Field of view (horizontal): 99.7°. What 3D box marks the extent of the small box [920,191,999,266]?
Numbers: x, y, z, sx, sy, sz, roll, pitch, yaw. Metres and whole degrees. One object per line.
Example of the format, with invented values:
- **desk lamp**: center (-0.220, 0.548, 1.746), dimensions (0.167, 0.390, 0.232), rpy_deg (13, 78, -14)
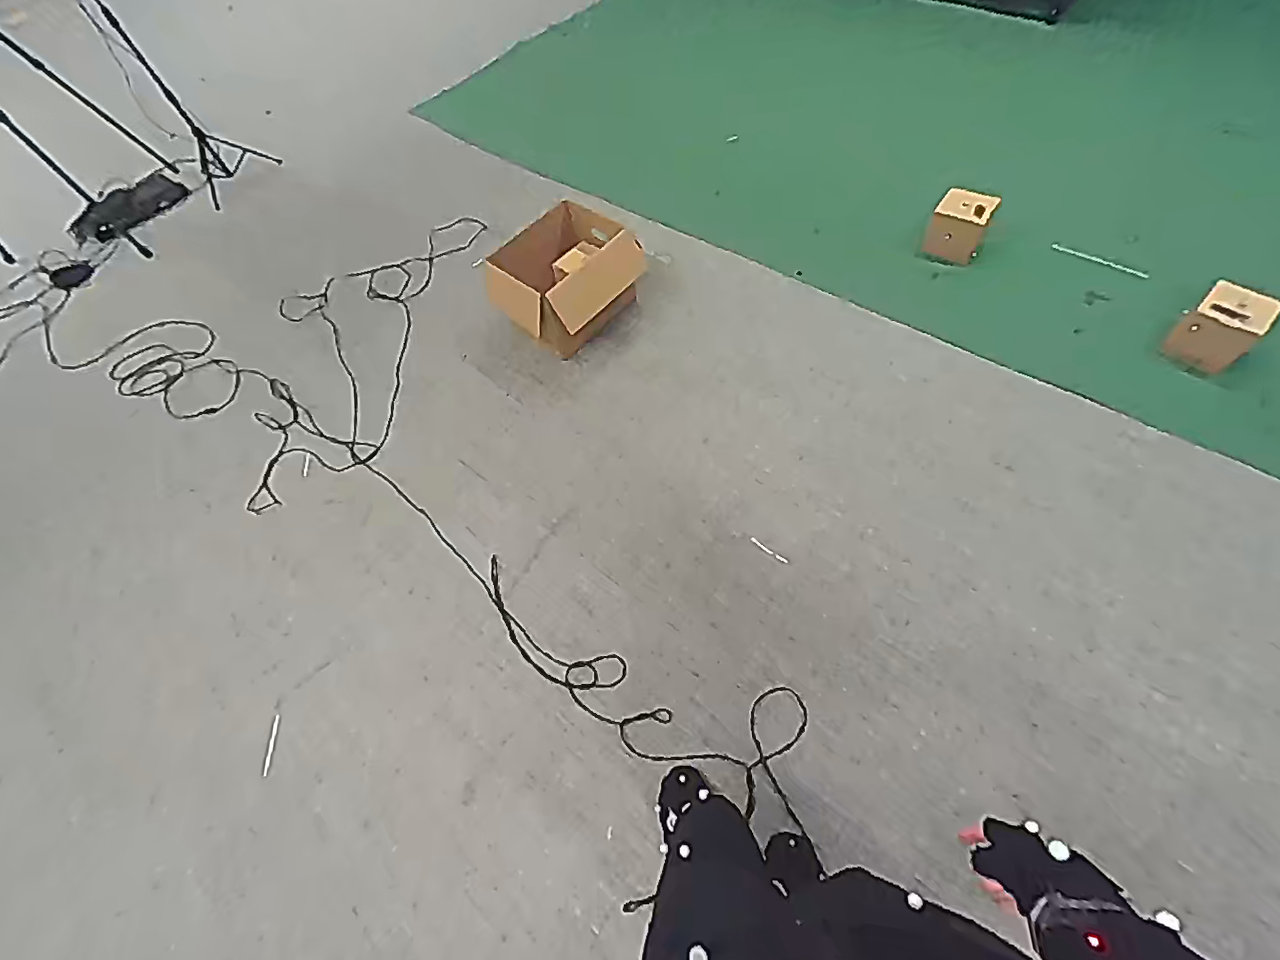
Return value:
- **small box**: center (1.171, -0.921, 1.992), dimensions (0.179, 0.176, 0.168), rpy_deg (31, 67, 24)
